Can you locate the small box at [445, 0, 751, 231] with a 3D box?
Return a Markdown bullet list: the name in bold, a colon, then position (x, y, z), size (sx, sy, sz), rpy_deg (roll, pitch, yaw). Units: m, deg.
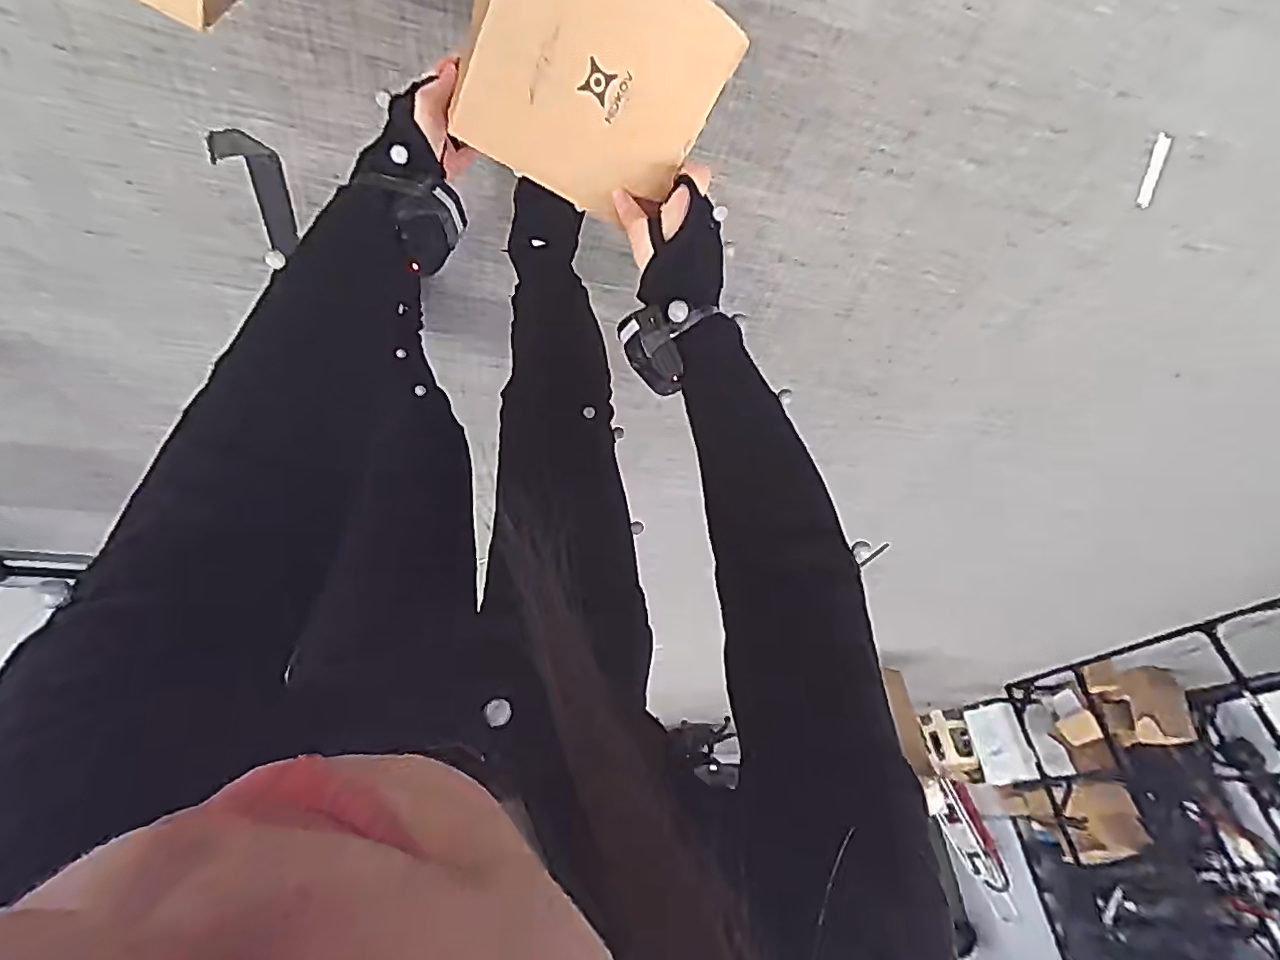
- **small box**: position (-0.048, -0.348, 0.448), size (0.179, 0.176, 0.168), rpy_deg (16, 125, -31)
